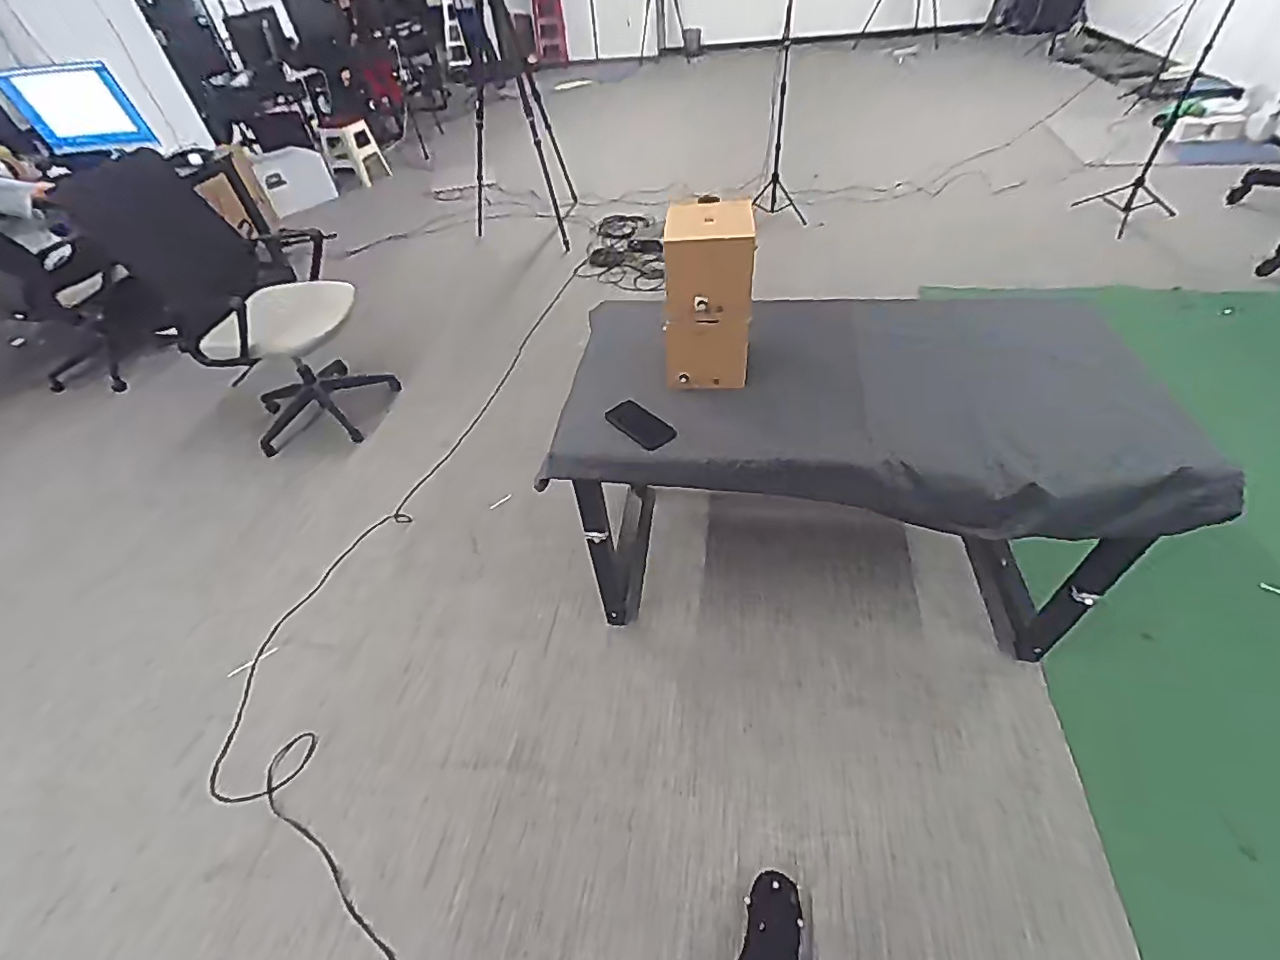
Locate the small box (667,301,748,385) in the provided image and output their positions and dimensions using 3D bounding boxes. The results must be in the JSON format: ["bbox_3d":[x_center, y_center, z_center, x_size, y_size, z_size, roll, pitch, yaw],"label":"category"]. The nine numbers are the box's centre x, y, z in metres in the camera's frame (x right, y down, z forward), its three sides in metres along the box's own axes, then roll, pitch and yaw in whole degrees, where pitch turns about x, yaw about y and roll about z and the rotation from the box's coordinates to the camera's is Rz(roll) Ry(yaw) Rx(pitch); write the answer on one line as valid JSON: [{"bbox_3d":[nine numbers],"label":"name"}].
[{"bbox_3d":[0.150,-0.323,1.190,0.168,0.176,0.179,1,46,7],"label":"small box"}]

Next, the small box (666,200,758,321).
[{"bbox_3d":[0.140,-0.434,1.074,0.168,0.176,0.179,0,48,7],"label":"small box"}]
